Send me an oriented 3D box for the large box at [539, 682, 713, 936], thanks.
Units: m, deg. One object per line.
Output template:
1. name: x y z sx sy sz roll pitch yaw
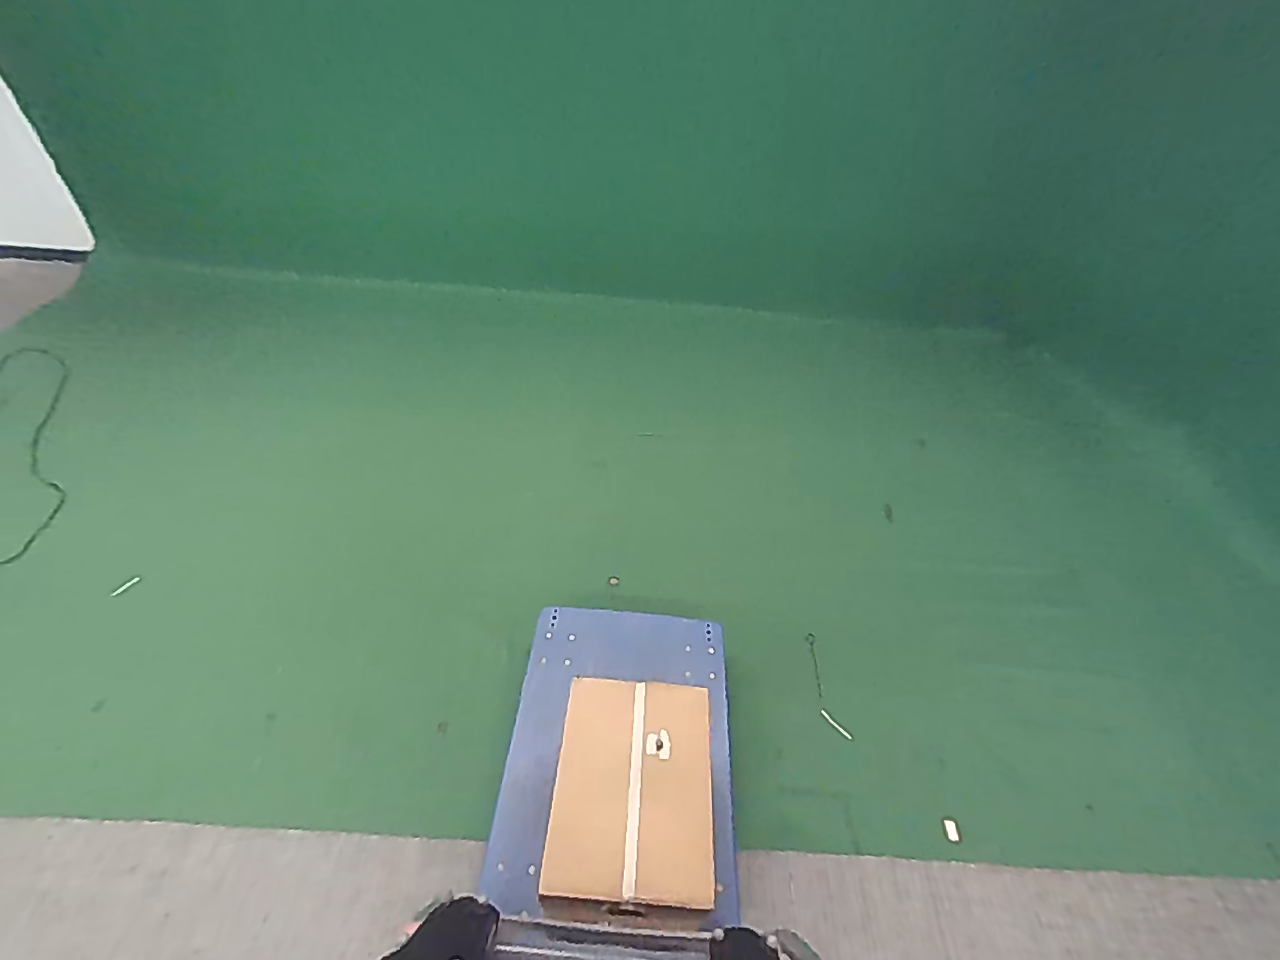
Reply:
1. large box: -0.028 0.713 1.185 0.320 0.320 0.408 6 42 -1
